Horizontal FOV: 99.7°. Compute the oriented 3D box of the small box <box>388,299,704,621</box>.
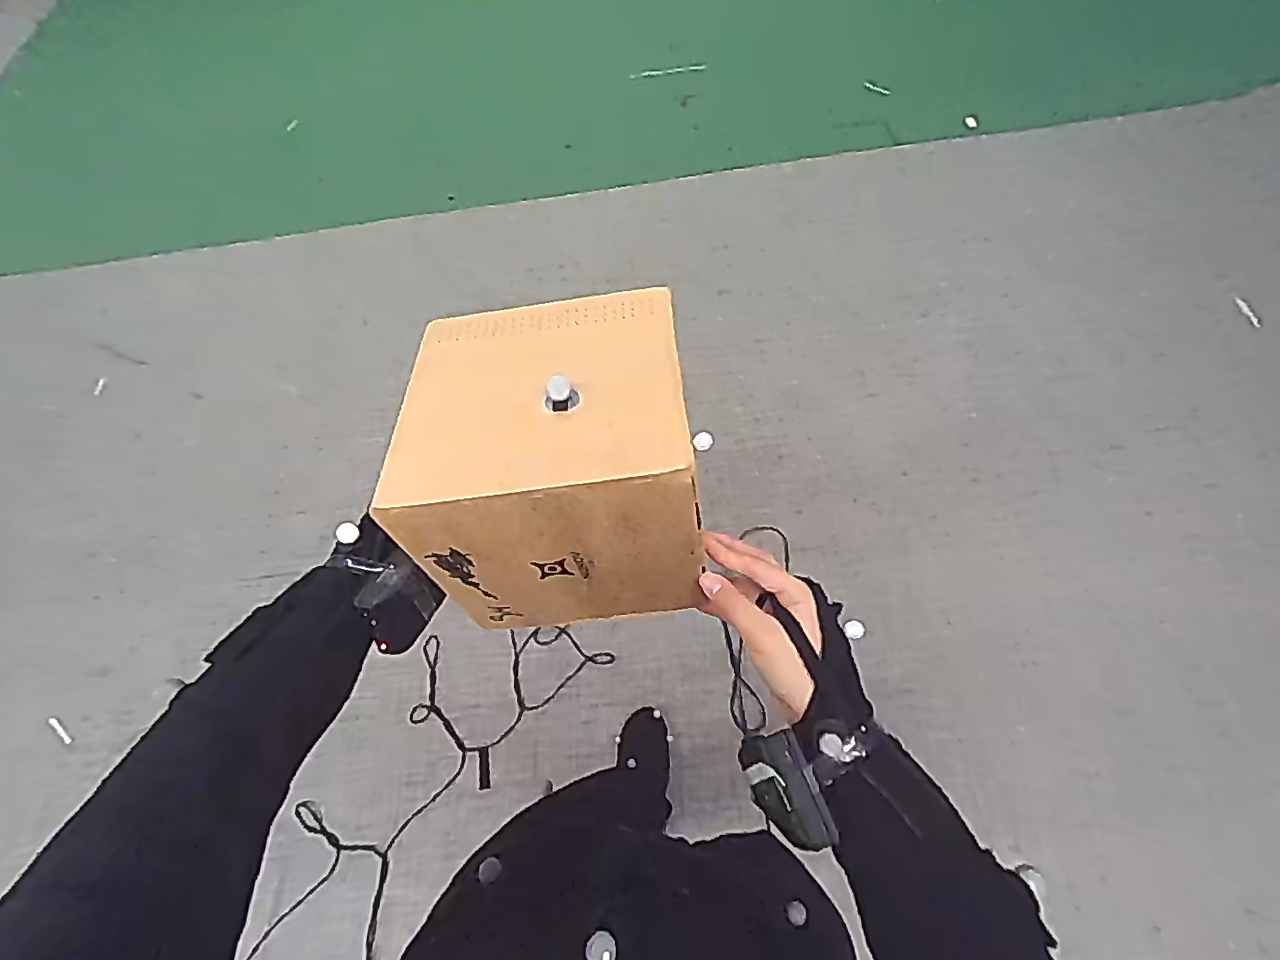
[{"bbox_3d":[-0.053,-0.014,0.405,0.179,0.168,0.176,-8,51,4],"label":"small box"}]
